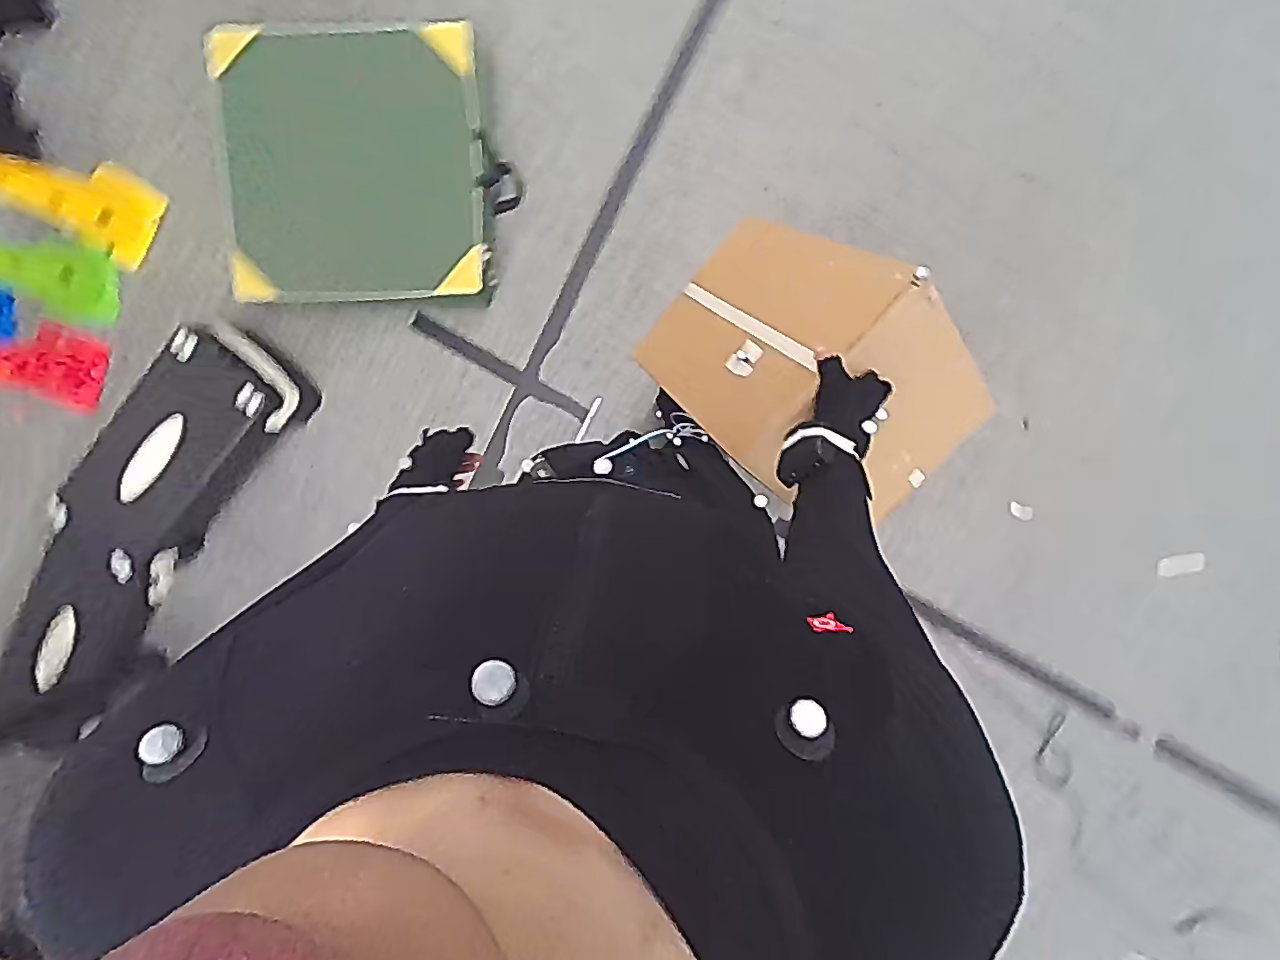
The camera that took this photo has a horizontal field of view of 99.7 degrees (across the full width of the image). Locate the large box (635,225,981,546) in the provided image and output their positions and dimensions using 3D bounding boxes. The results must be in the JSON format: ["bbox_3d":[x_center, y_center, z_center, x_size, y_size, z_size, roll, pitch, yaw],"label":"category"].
[{"bbox_3d":[0.259,-0.165,0.909,0.320,0.408,0.320,-47,130,11],"label":"large box"}]
